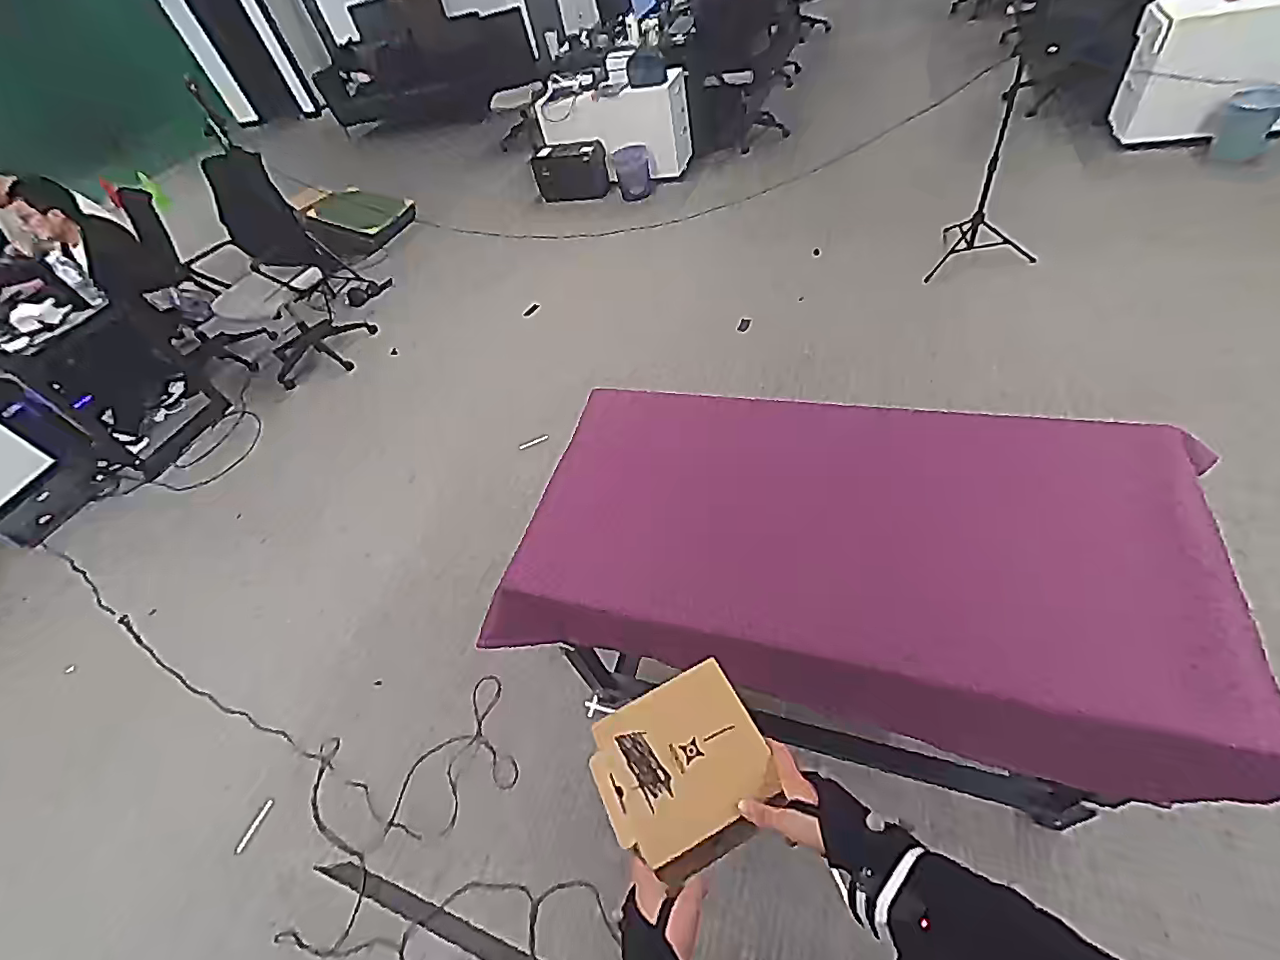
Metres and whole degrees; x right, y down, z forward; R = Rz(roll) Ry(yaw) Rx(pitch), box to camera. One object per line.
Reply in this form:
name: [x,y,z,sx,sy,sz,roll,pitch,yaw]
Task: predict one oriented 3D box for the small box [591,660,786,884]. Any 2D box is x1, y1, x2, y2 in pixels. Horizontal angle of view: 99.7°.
small box: [0.064,0.366,0.673,0.179,0.176,0.168,-25,48,-10]
